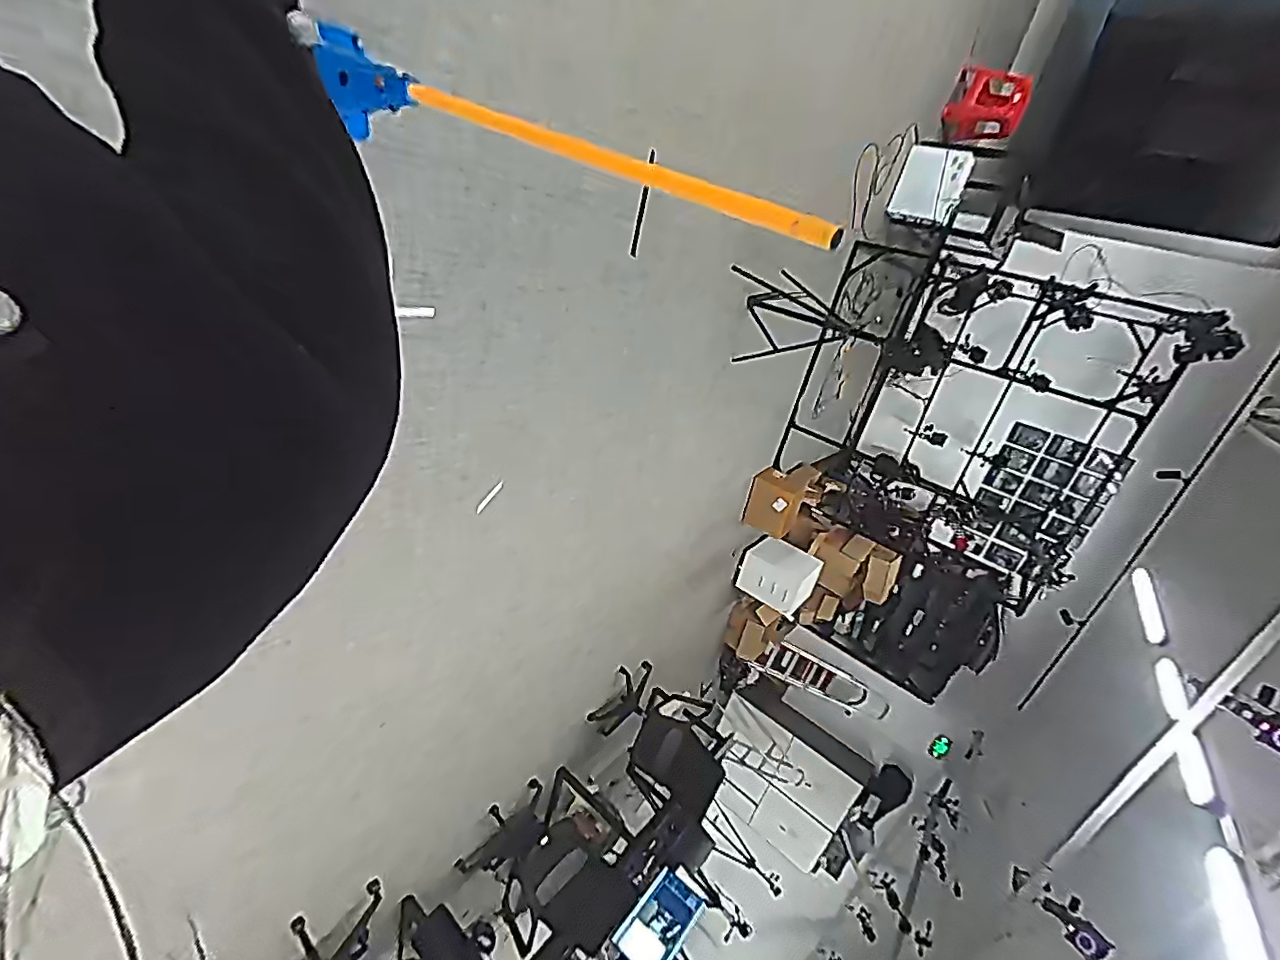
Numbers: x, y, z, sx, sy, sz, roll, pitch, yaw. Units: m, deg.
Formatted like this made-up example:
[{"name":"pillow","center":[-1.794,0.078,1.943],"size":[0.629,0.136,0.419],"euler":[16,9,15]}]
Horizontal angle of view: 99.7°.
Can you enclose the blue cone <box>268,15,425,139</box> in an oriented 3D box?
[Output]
[{"name":"blue cone","center":[-0.543,-0.774,1.061],"size":[0.193,0.380,0.192],"euler":[-23,132,-48]}]
